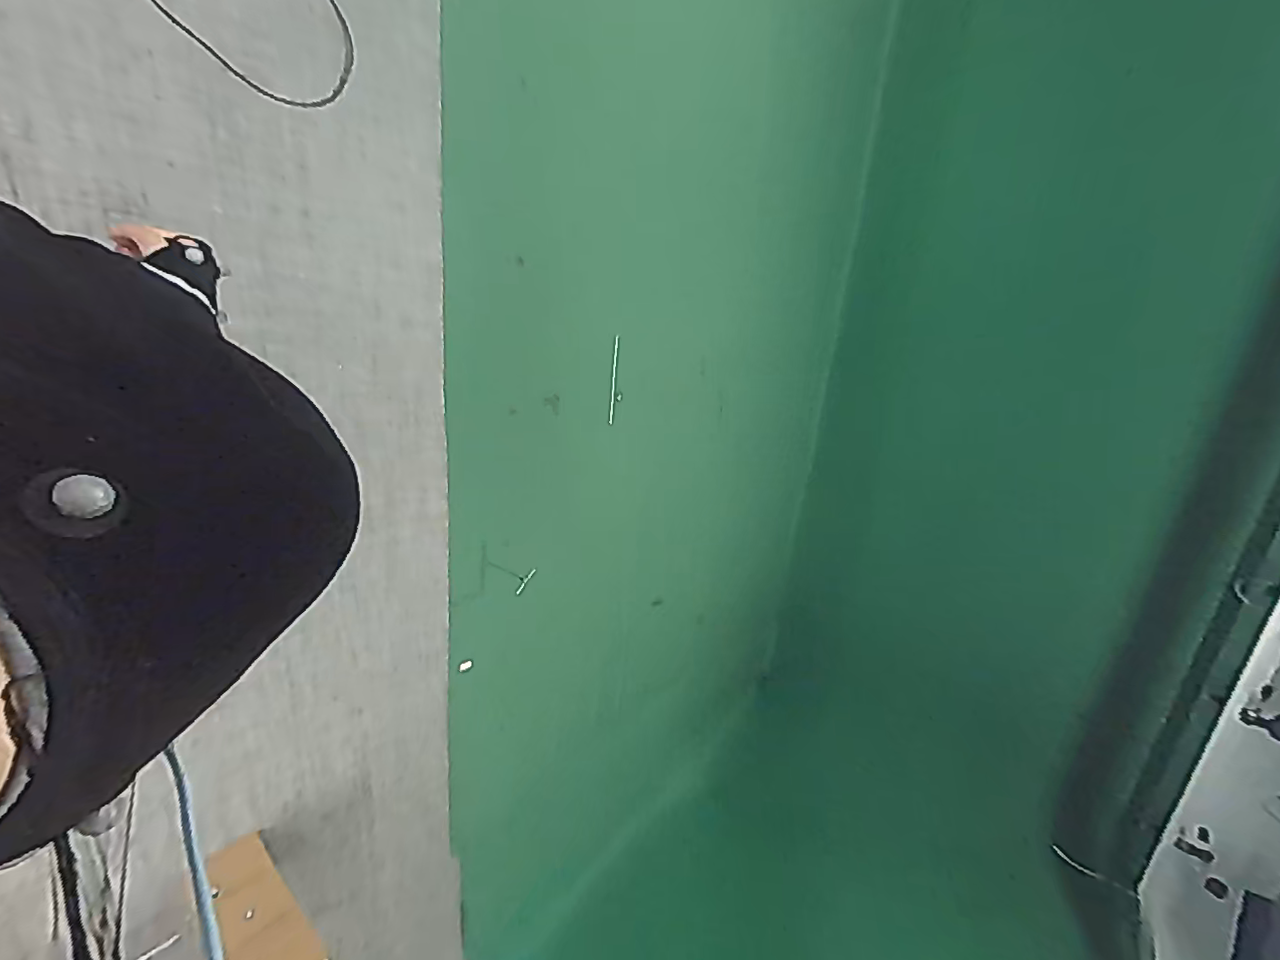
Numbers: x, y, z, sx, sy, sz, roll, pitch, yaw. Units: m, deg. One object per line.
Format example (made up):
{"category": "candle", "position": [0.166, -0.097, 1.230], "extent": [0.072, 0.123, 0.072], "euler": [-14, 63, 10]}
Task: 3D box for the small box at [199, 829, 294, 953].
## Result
{"category": "small box", "position": [-1.100, 1.135, 1.508], "extent": [0.179, 0.176, 0.168], "euler": [-17, 117, -49]}
